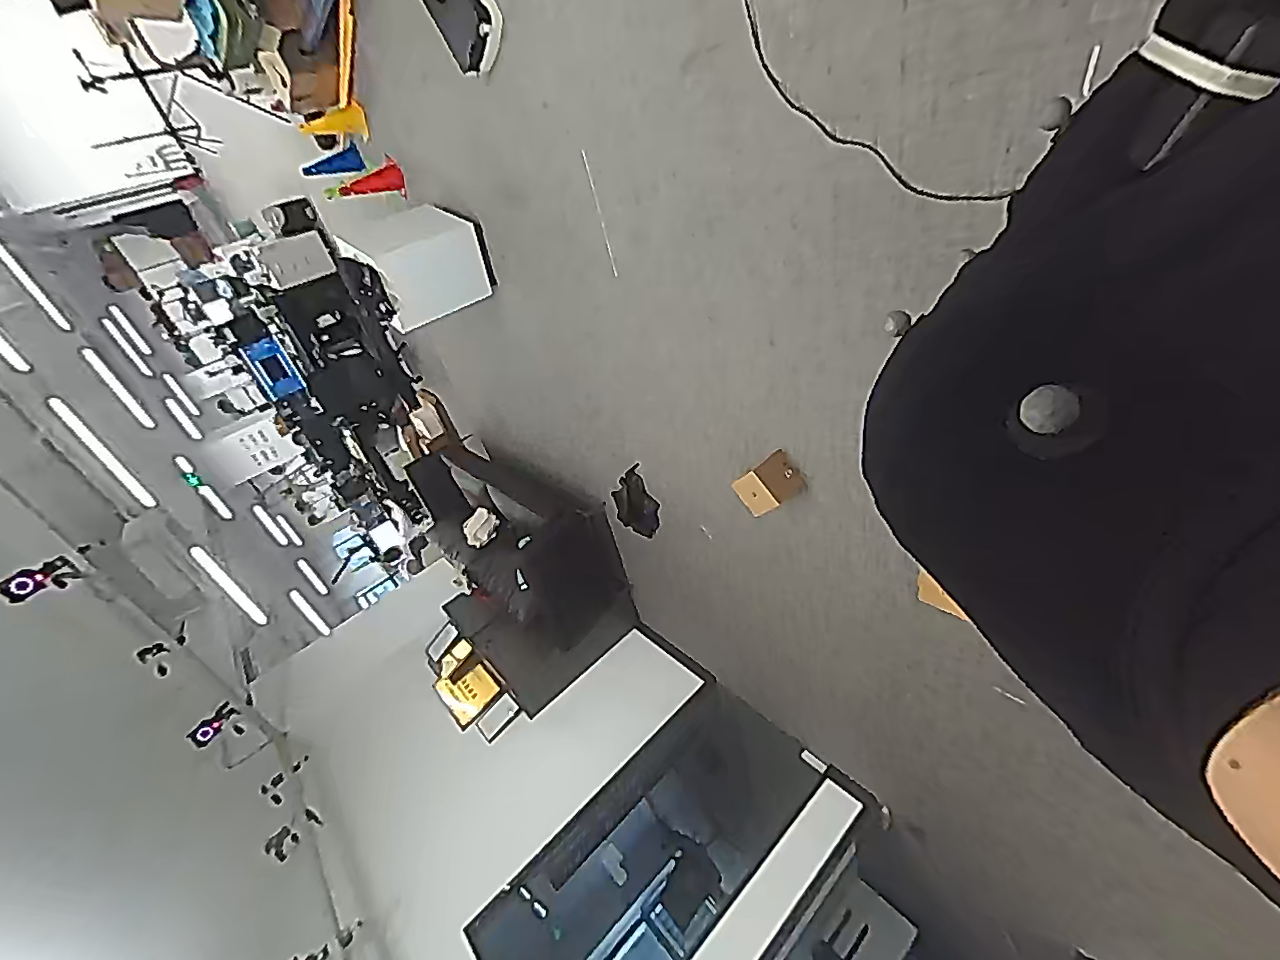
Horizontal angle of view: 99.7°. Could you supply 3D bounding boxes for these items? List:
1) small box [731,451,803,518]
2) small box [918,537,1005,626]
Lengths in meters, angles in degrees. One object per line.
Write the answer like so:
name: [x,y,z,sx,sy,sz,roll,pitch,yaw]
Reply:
small box: [0.493,0.018,2.087,0.168,0.176,0.179,52,153,4]
small box: [0.966,0.297,1.627,0.179,0.176,0.168,24,140,47]
